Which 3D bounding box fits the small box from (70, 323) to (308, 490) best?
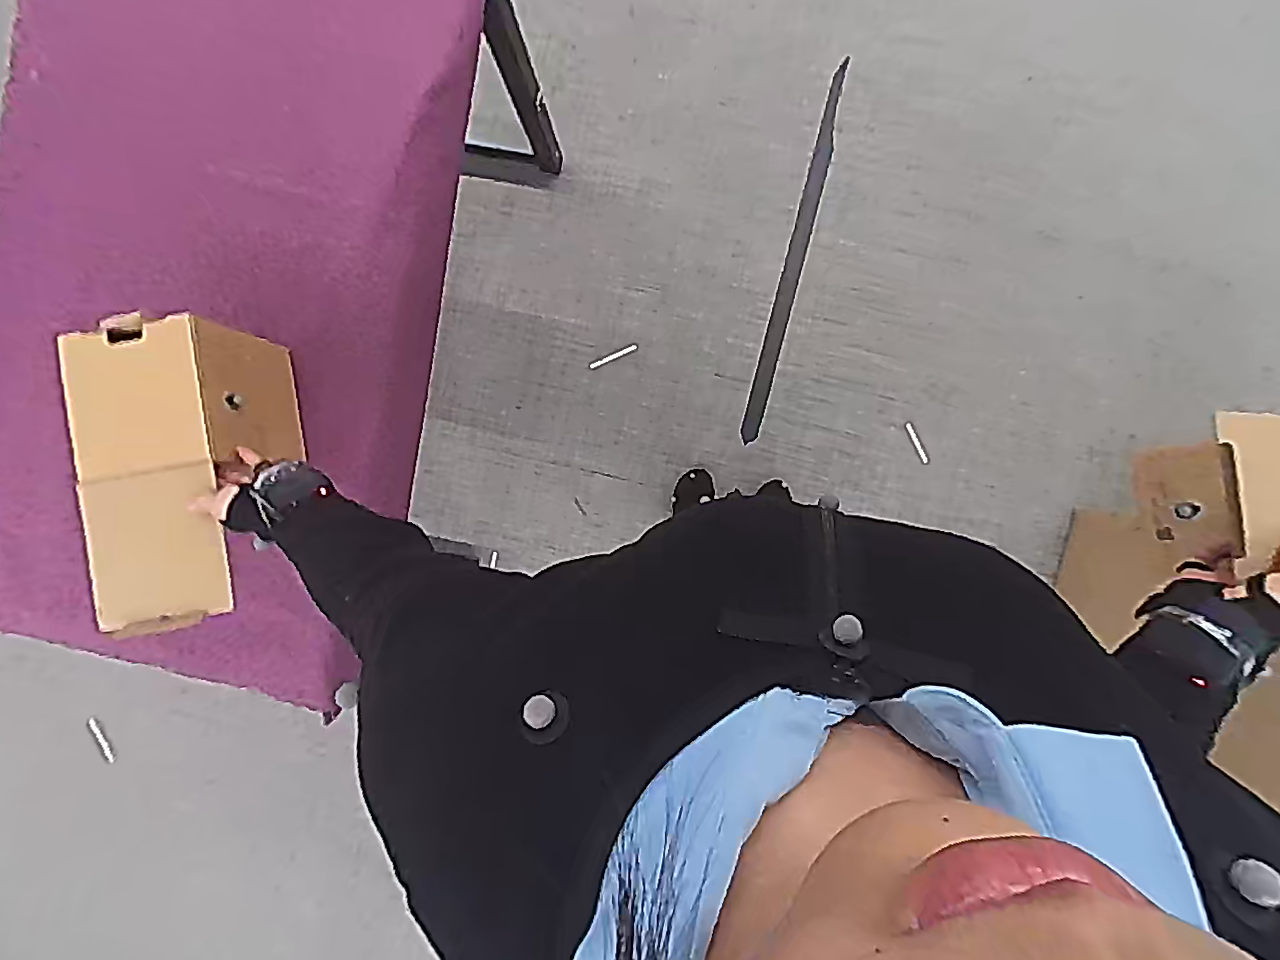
[{"bbox_3d":[-0.572,-0.087,0.711,0.168,0.176,0.179,-10,90,3],"label":"small box"}]
